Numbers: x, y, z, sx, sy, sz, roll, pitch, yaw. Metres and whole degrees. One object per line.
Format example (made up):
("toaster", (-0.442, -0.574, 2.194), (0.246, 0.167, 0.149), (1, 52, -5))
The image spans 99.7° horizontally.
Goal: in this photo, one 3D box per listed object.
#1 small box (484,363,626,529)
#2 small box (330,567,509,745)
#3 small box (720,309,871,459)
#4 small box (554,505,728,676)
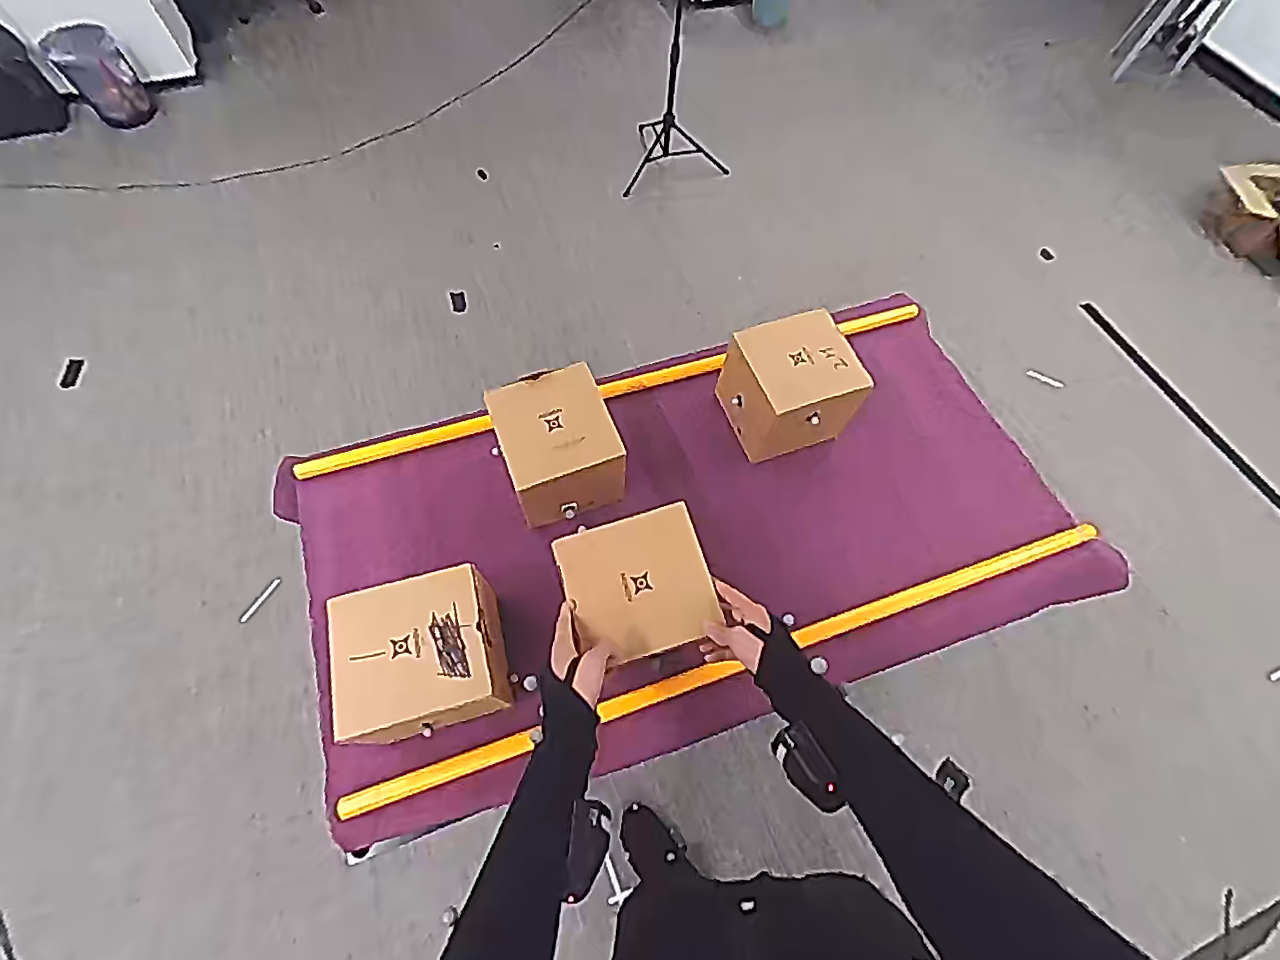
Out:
("small box", (-0.131, -0.049, 0.855), (0.168, 0.176, 0.179), (-20, 67, -11))
("small box", (-0.275, 0.232, 0.706), (0.179, 0.176, 0.168), (-14, 65, -10))
("small box", (0.249, -0.157, 0.926), (0.179, 0.176, 0.168), (-17, 67, -11))
("small box", (-0.001, 0.151, 0.724), (0.179, 0.176, 0.168), (-17, 72, -4))
